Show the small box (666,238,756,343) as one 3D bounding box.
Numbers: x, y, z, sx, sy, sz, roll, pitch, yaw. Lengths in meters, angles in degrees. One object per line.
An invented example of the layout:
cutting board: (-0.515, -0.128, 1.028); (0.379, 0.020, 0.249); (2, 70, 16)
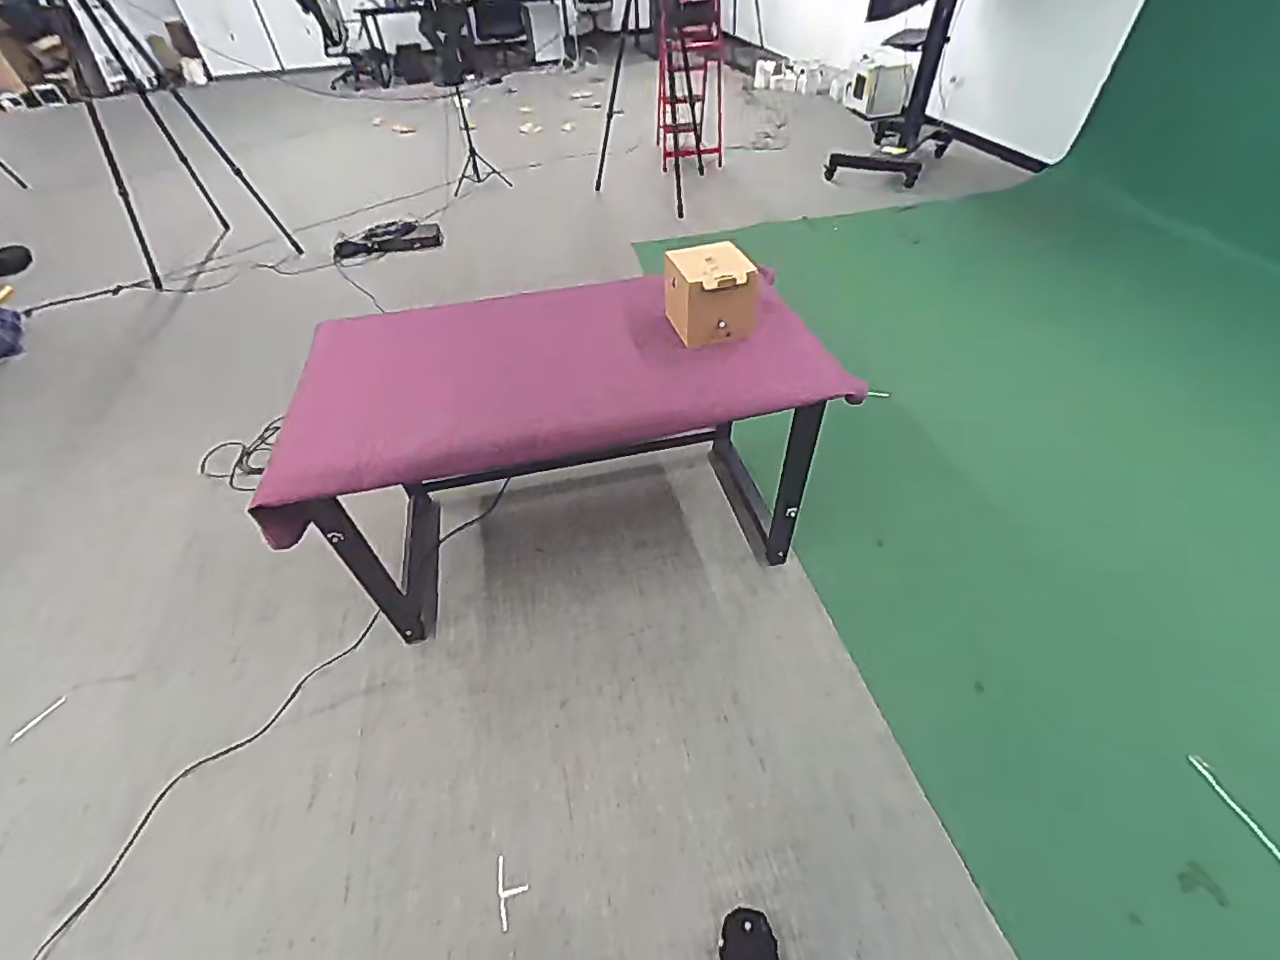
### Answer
small box: (0.162, -0.455, 1.299); (0.168, 0.176, 0.179); (-14, 48, -8)
